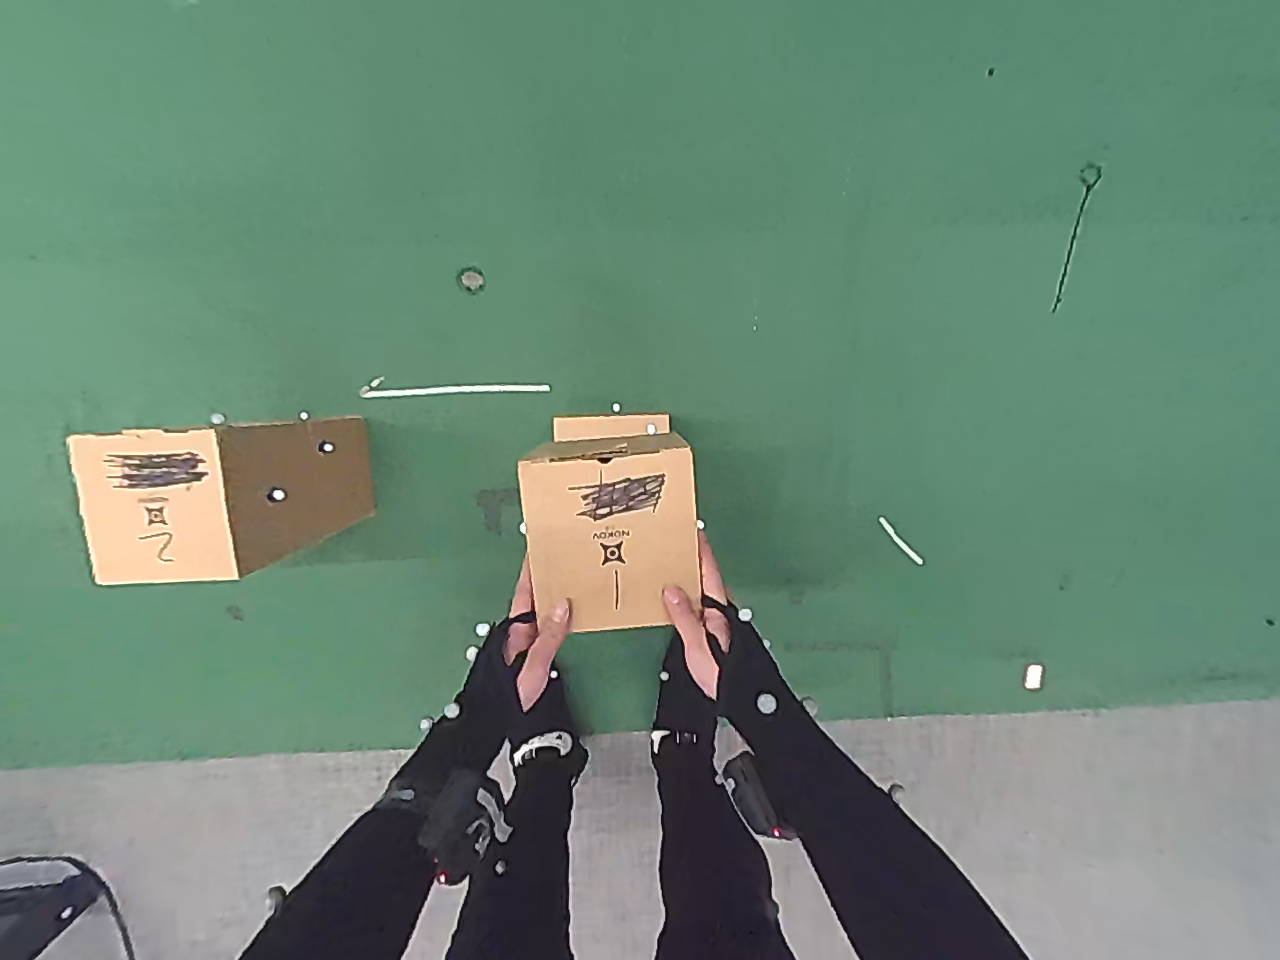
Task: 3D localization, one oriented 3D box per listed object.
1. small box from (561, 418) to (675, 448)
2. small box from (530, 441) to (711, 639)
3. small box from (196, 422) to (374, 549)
[{"bbox_3d":[-0.035,-0.010,0.854,0.168,0.176,0.179,-1,98,-1],"label":"small box"},{"bbox_3d":[-0.020,0.051,0.591,0.168,0.176,0.179,-4,100,-1],"label":"small box"},{"bbox_3d":[-0.538,0.001,0.845,0.168,0.176,0.179,-2,97,-1],"label":"small box"}]
